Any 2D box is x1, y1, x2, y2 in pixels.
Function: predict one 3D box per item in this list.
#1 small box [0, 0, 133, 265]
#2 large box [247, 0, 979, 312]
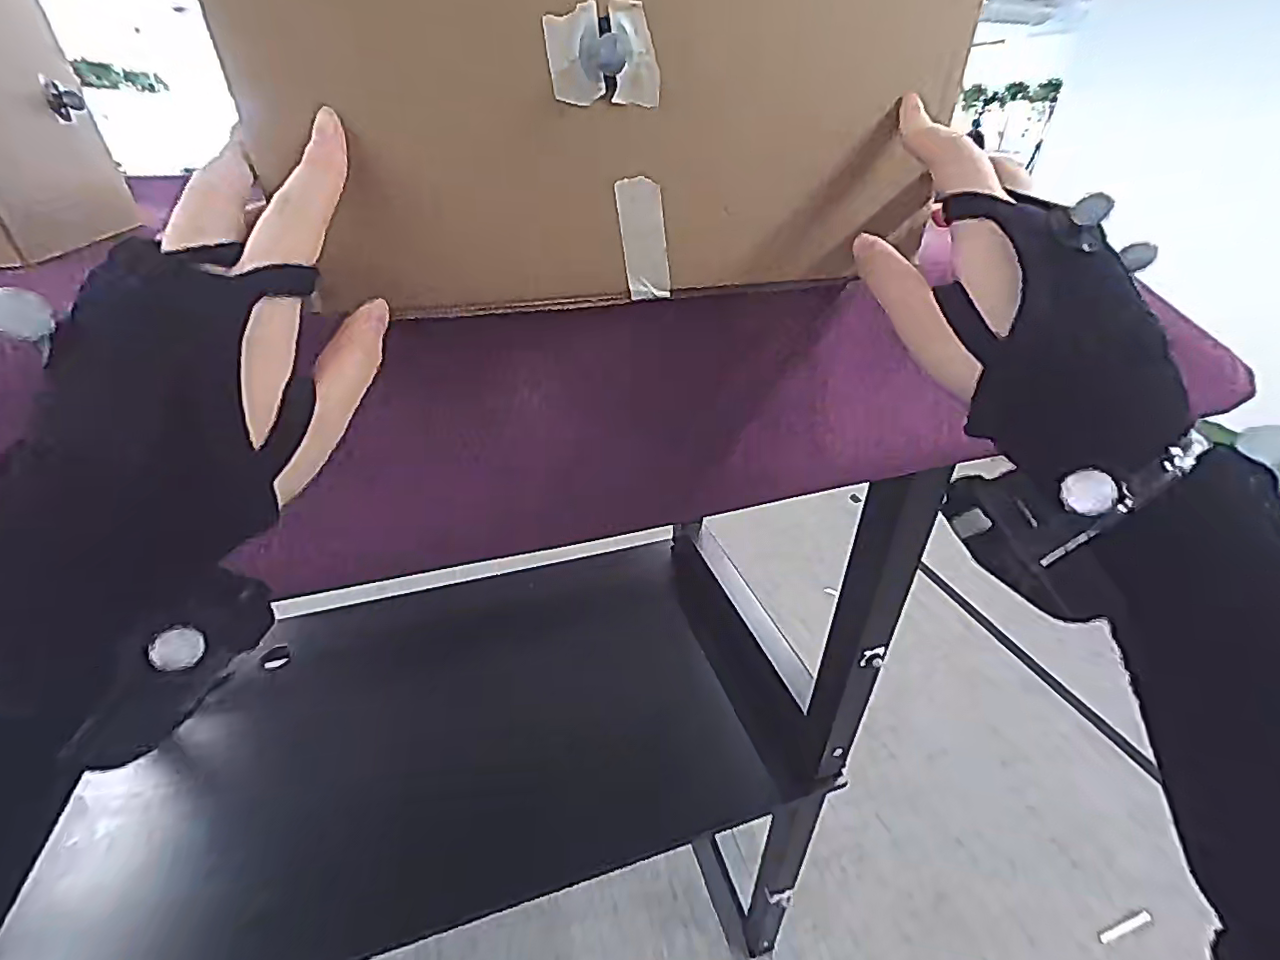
[{"bbox_3d":[-0.481,-0.237,0.341,0.168,0.176,0.179,-10,35,-14],"label":"small box"},{"bbox_3d":[-0.046,-0.322,0.346,0.320,0.320,0.408,-8,33,-13],"label":"large box"}]
